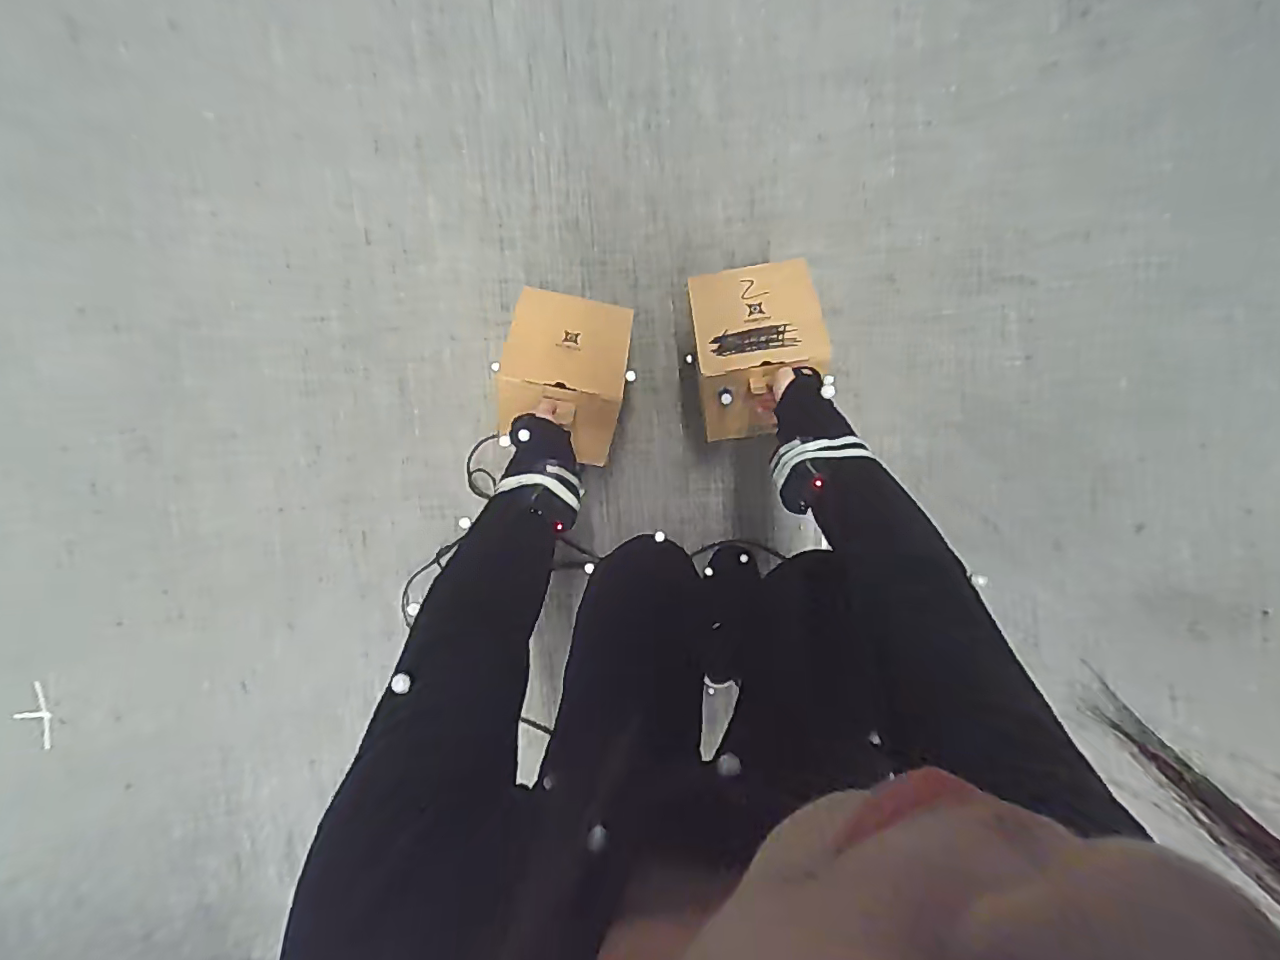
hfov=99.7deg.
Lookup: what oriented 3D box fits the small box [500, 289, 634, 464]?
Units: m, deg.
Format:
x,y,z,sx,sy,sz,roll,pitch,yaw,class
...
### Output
x,y,z,sx,sy,sz,roll,pitch,yaw,class
-0.112,-0.151,0.819,0.168,0.176,0.179,10,59,-7,small box
